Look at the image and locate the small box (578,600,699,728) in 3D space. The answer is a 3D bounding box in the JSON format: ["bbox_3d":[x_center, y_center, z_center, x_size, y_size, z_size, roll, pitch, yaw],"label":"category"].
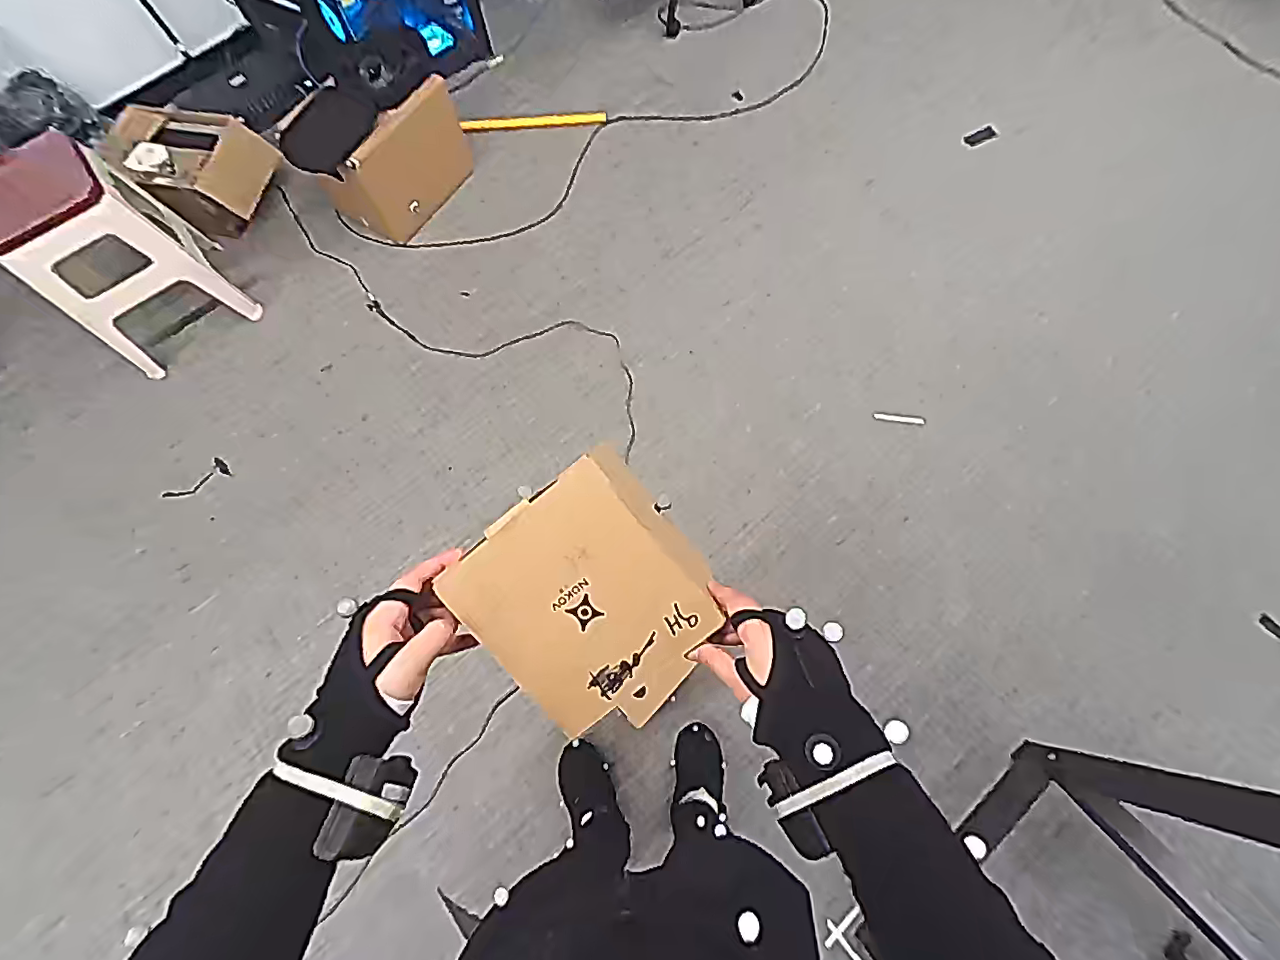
[{"bbox_3d":[0.000,0.373,1.103,0.168,0.176,0.179,41,75,14],"label":"small box"}]
